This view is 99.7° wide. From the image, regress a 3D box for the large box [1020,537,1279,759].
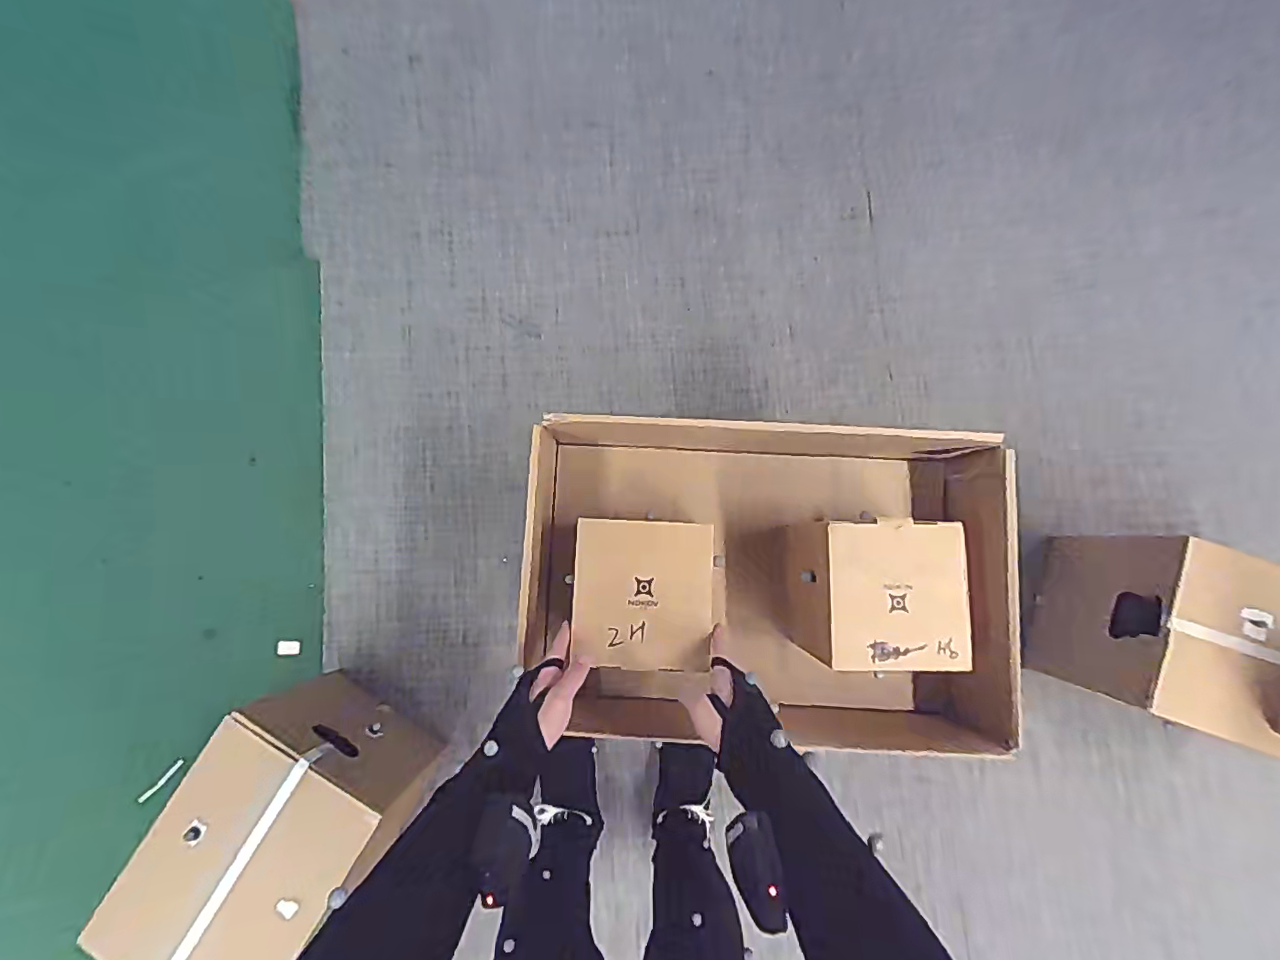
[{"bbox_3d":[1.072,0.317,1.056,0.408,0.320,0.320,19,84,3],"label":"large box"}]
